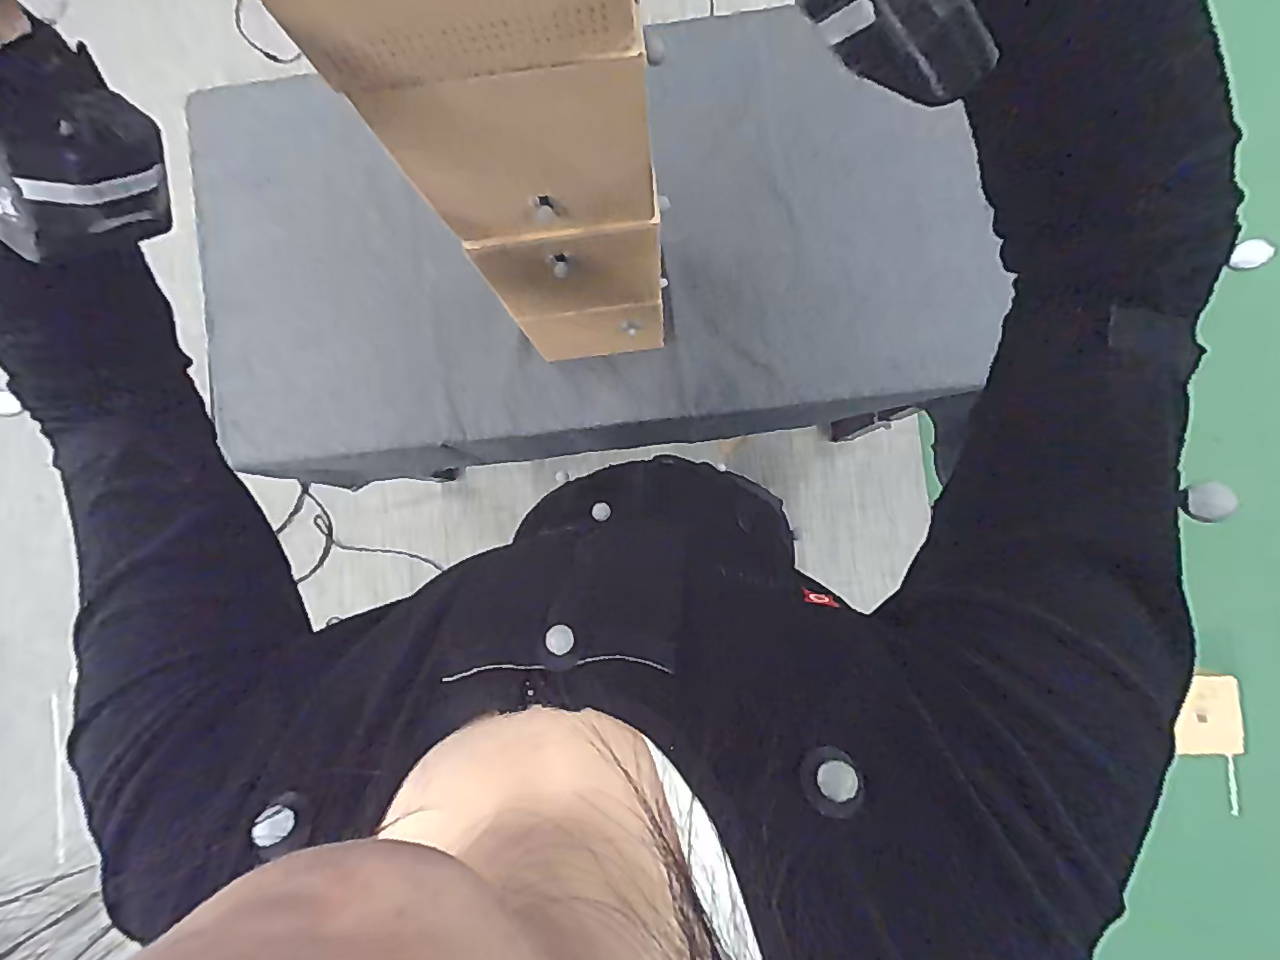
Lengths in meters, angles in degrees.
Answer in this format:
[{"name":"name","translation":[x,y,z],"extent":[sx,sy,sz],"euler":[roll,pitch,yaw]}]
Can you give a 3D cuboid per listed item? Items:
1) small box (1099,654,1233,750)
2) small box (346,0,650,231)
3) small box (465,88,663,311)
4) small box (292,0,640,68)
[{"name":"small box","translation":[1.276,0.536,1.324],"extent":[0.168,0.176,0.179],"euler":[-2,86,2]},{"name":"small box","translation":[-0.084,-0.306,0.393],"extent":[0.179,0.176,0.168],"euler":[-4,85,2]},{"name":"small box","translation":[-0.071,-0.290,0.555],"extent":[0.179,0.176,0.168],"euler":[-7,86,3]},{"name":"small box","translation":[-0.098,-0.319,0.229],"extent":[0.179,0.176,0.168],"euler":[-6,87,3]}]
